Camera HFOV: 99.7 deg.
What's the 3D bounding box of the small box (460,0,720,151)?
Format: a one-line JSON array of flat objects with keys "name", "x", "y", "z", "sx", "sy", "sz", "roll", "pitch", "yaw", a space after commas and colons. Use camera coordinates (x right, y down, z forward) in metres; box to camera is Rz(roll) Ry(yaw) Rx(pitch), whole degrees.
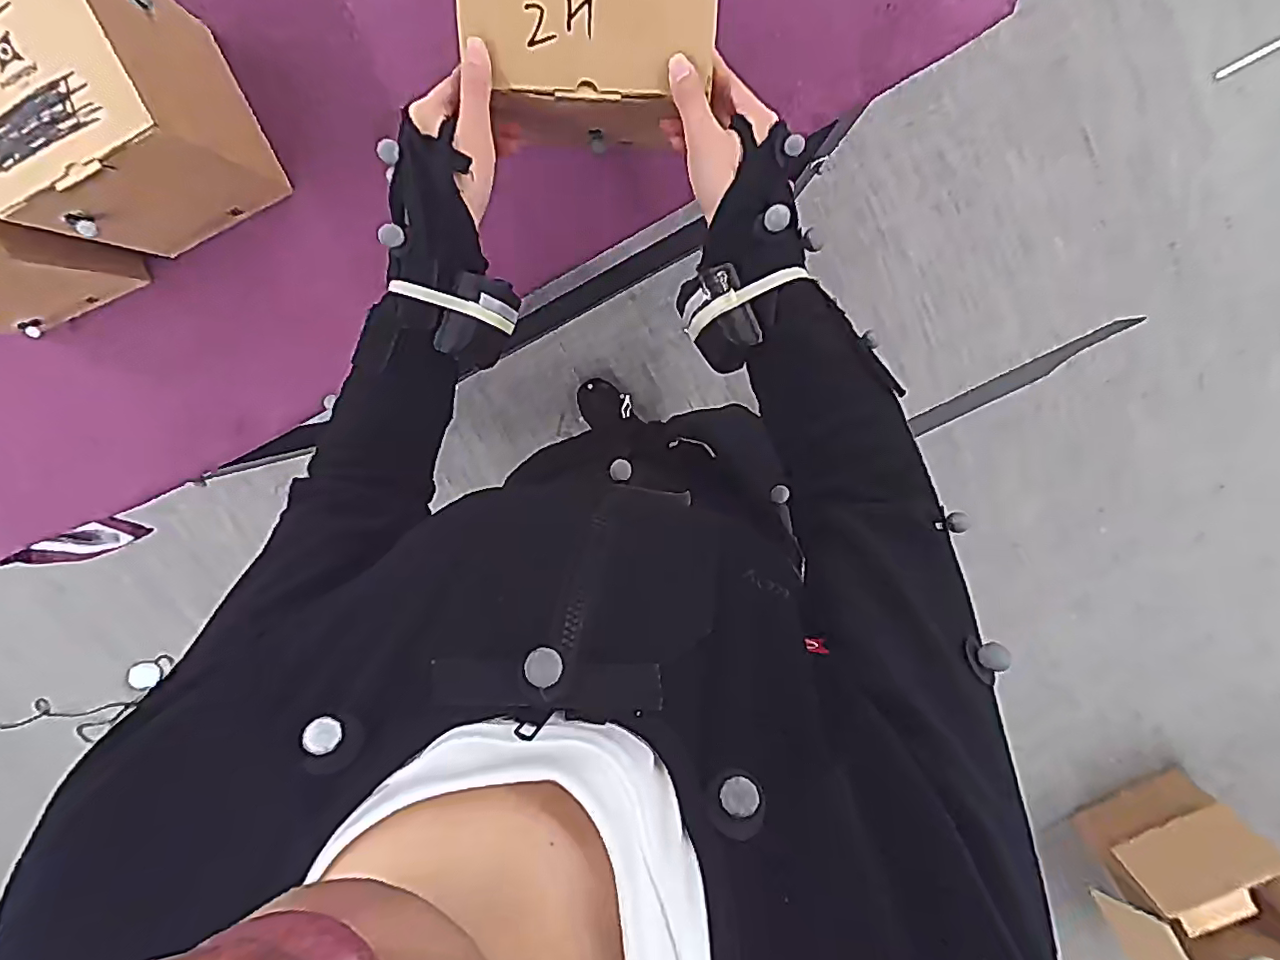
[{"name": "small box", "x": -0.029, "y": -0.364, "z": 0.398, "sx": 0.168, "sy": 0.176, "sz": 0.179, "roll": 2, "pitch": 112, "yaw": 0}]
